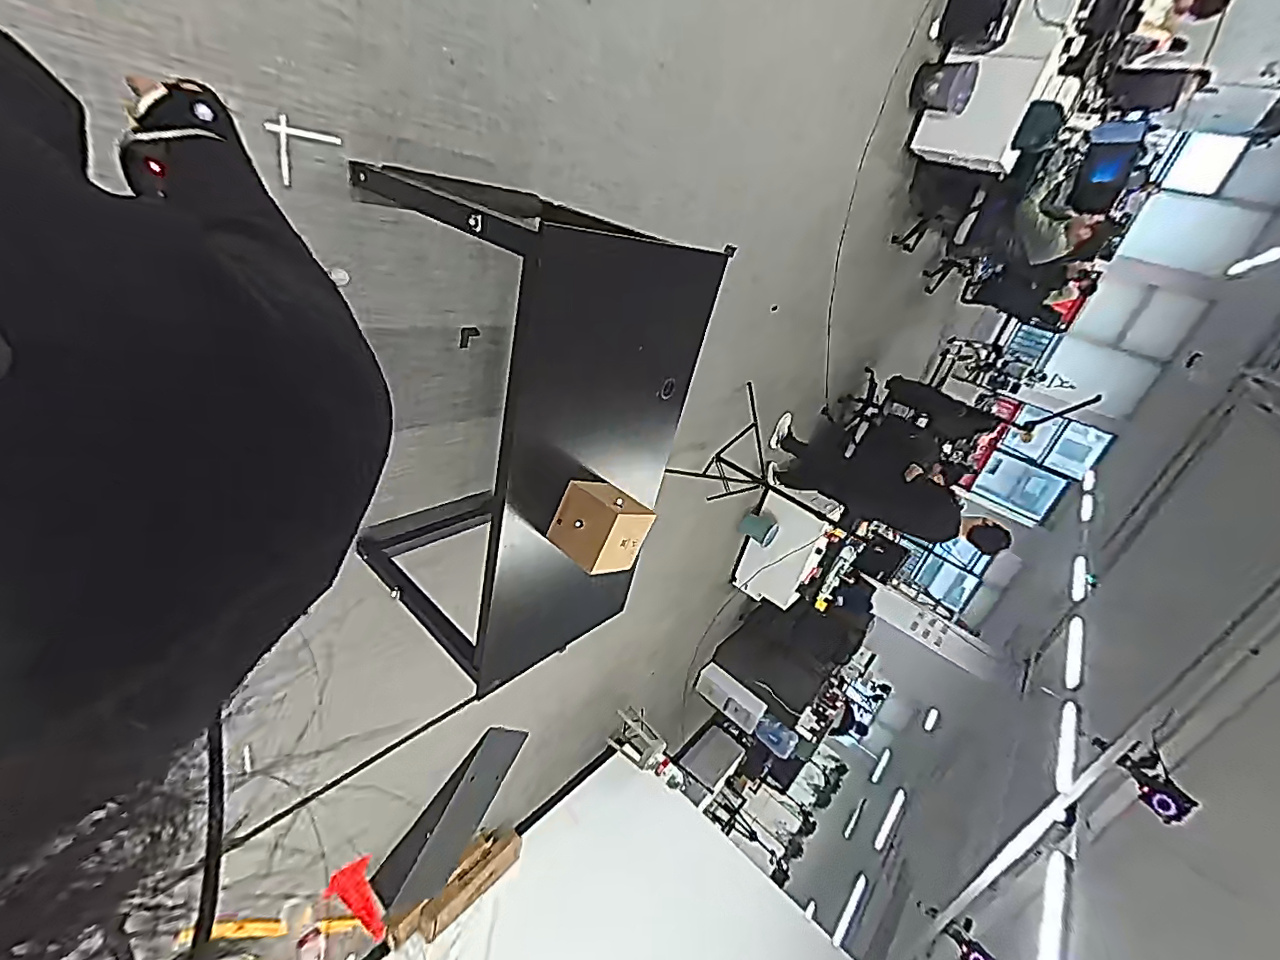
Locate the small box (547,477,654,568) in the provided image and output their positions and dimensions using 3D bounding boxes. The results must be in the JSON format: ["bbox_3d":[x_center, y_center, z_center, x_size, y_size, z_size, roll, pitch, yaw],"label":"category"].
[{"bbox_3d":[-0.102,0.102,1.362,0.179,0.176,0.168,5,114,-58],"label":"small box"}]
